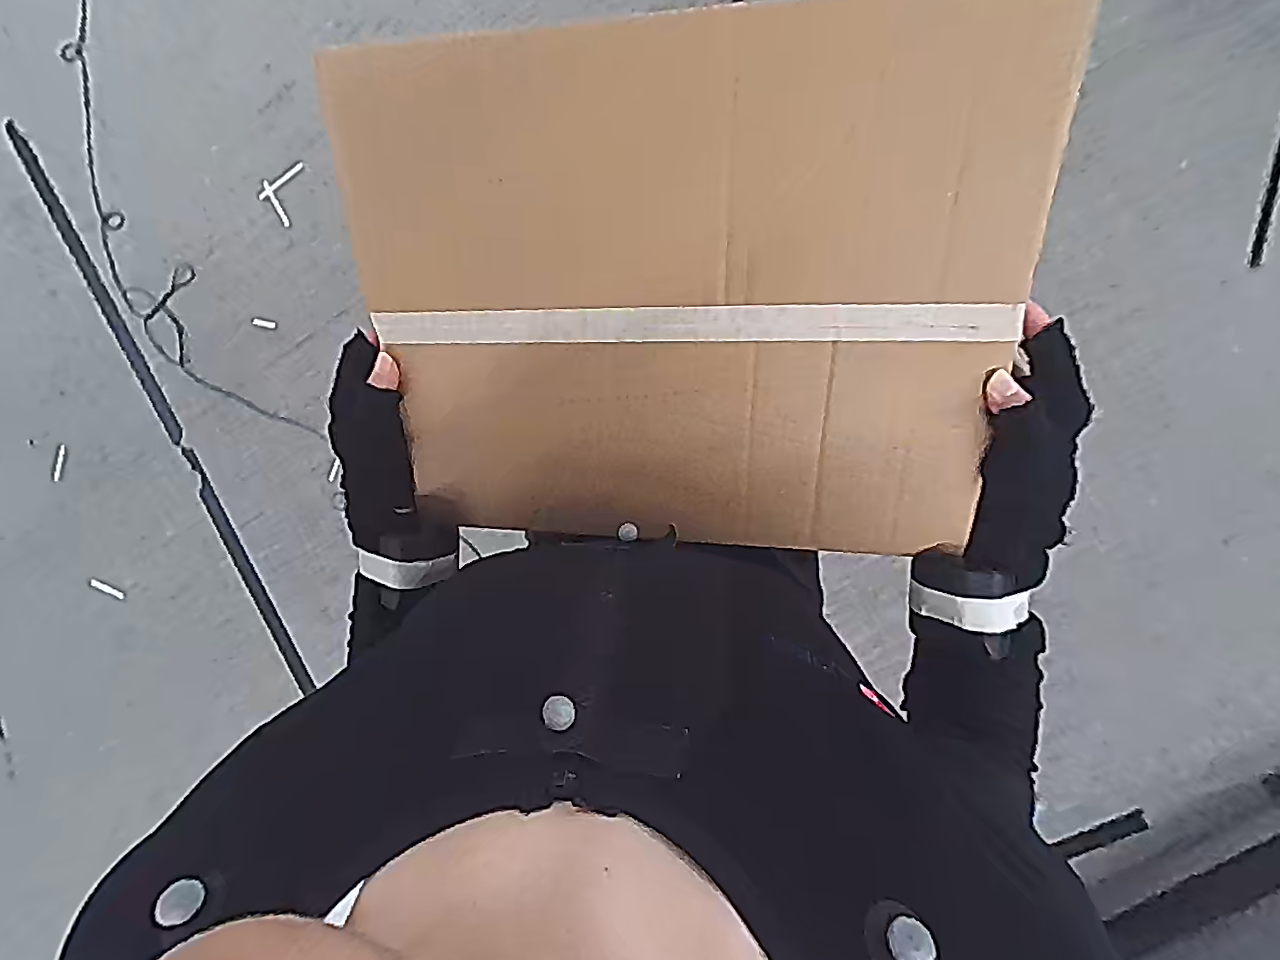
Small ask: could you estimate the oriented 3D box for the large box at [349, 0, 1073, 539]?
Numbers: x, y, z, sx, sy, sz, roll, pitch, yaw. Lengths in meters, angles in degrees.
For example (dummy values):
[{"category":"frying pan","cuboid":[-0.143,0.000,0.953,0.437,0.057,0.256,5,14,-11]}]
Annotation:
[{"category":"large box","cuboid":[0.045,-0.162,0.489,0.408,0.320,0.320,2,116,10]}]
